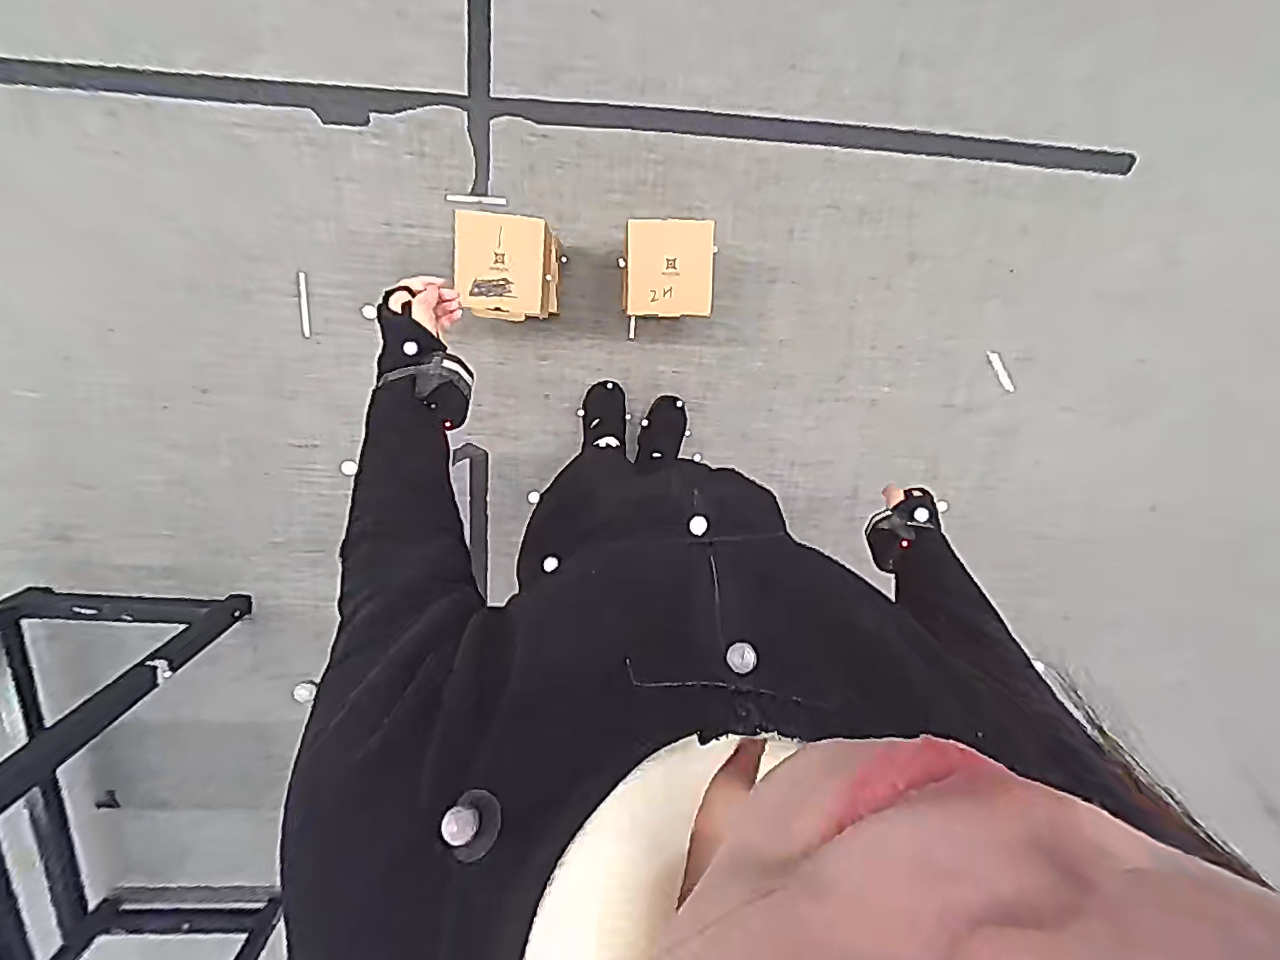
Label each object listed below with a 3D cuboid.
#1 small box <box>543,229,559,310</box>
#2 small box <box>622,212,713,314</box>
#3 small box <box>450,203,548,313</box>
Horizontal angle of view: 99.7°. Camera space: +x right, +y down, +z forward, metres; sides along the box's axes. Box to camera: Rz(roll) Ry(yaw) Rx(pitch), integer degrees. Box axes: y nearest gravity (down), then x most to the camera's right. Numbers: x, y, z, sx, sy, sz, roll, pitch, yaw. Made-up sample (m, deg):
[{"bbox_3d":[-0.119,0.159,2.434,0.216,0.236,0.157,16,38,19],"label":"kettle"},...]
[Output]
[{"bbox_3d":[-0.278,-0.482,1.239,0.179,0.176,0.168,2,106,-5],"label":"small box"},{"bbox_3d":[0.048,-0.433,1.104,0.168,0.176,0.179,0,107,-3],"label":"small box"},{"bbox_3d":[-0.276,-0.433,1.082,0.168,0.176,0.179,4,105,-6],"label":"small box"}]
